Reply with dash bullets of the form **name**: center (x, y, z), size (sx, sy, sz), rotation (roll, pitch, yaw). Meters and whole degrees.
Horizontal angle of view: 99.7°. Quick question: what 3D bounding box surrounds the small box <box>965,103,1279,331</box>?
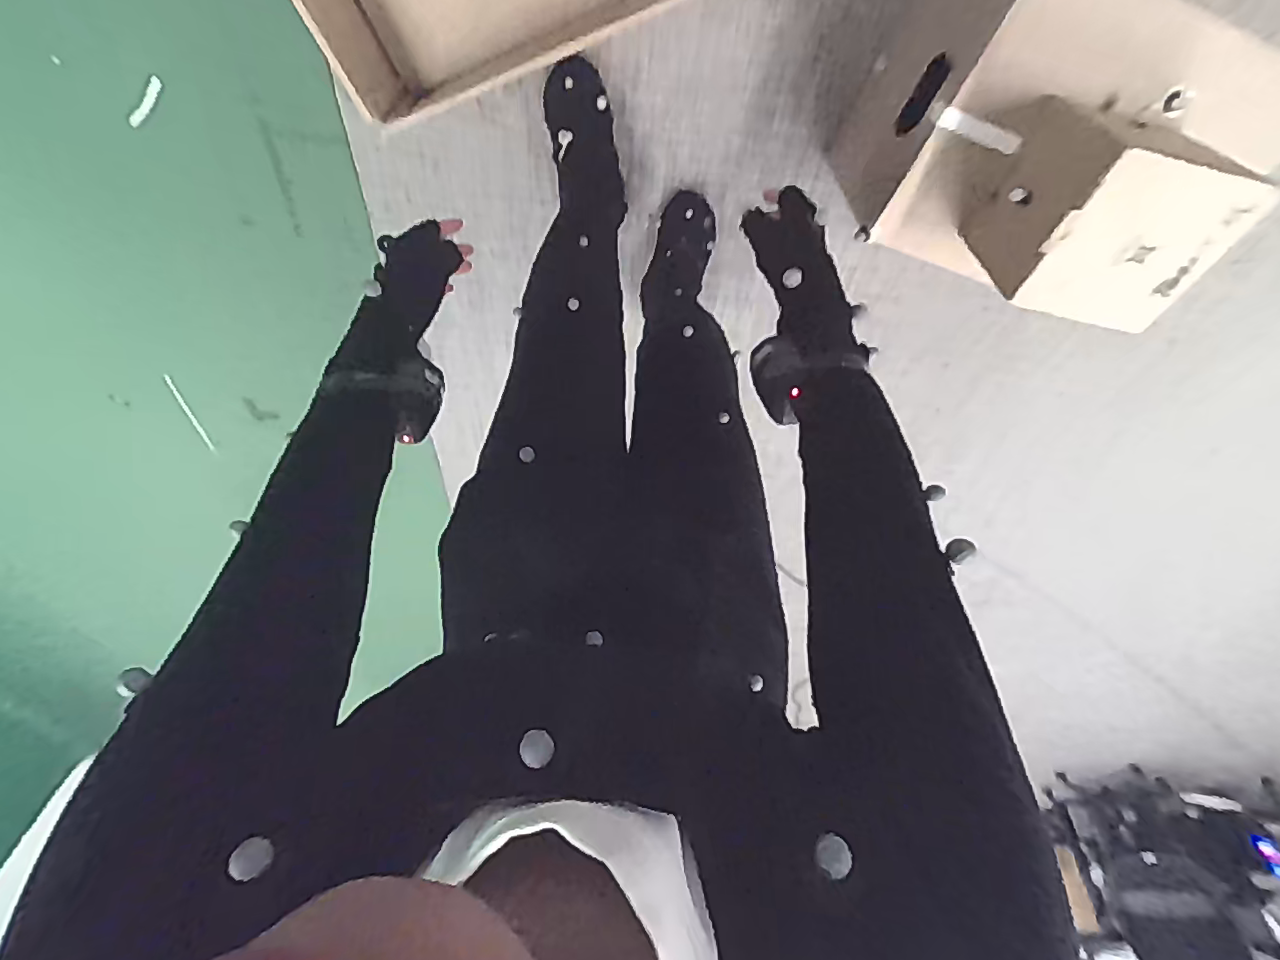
- **small box**: center (0.517, -0.302, 0.618), size (0.179, 0.176, 0.168), rotation (11, 138, -6)

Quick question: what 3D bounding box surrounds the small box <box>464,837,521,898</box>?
- **small box**: center (-0.552, 1.452, 2.026), size (0.168, 0.176, 0.179), rotation (15, 139, -10)
